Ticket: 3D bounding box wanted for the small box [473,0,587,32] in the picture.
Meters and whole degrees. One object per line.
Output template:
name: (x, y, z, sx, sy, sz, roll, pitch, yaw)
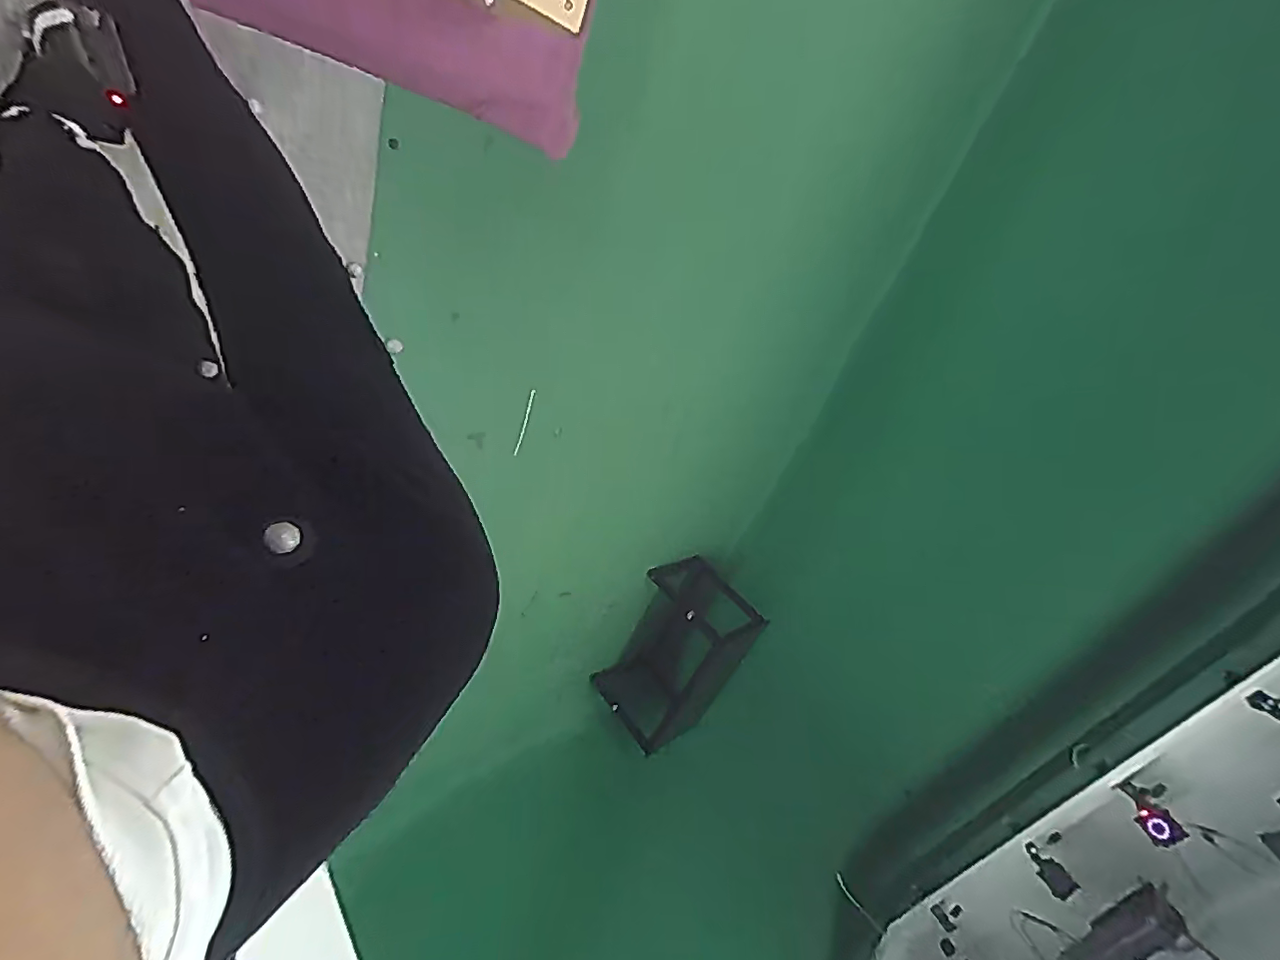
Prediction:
small box: (-0.147, -0.609, 0.553, 0.168, 0.176, 0.179, -9, 131, -45)
